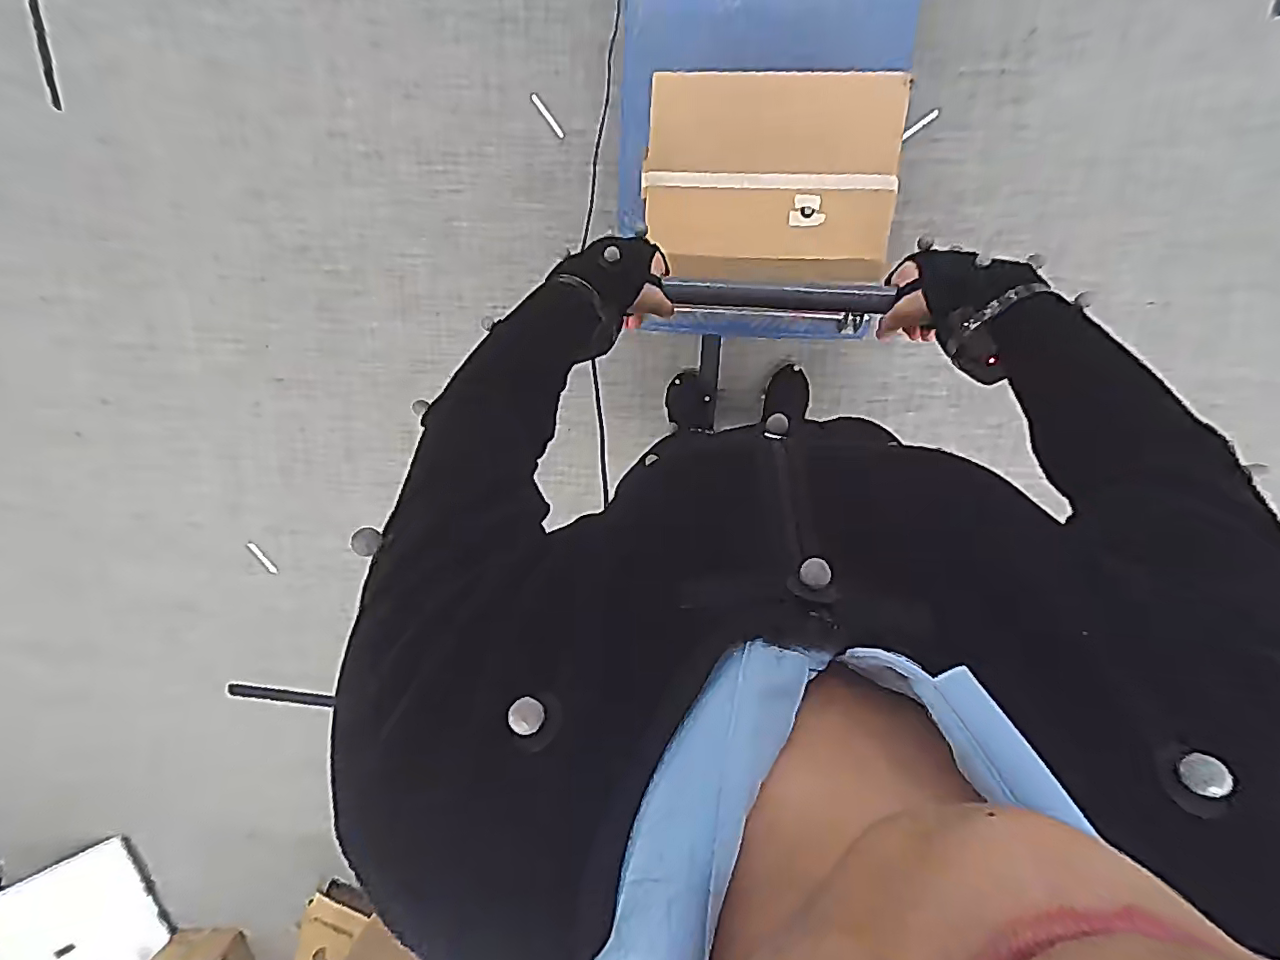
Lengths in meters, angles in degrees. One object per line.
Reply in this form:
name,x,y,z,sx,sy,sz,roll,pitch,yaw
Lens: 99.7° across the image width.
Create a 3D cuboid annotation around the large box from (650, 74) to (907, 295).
large box,0.233,-0.535,1.045,0.408,0.320,0.320,4,105,6
